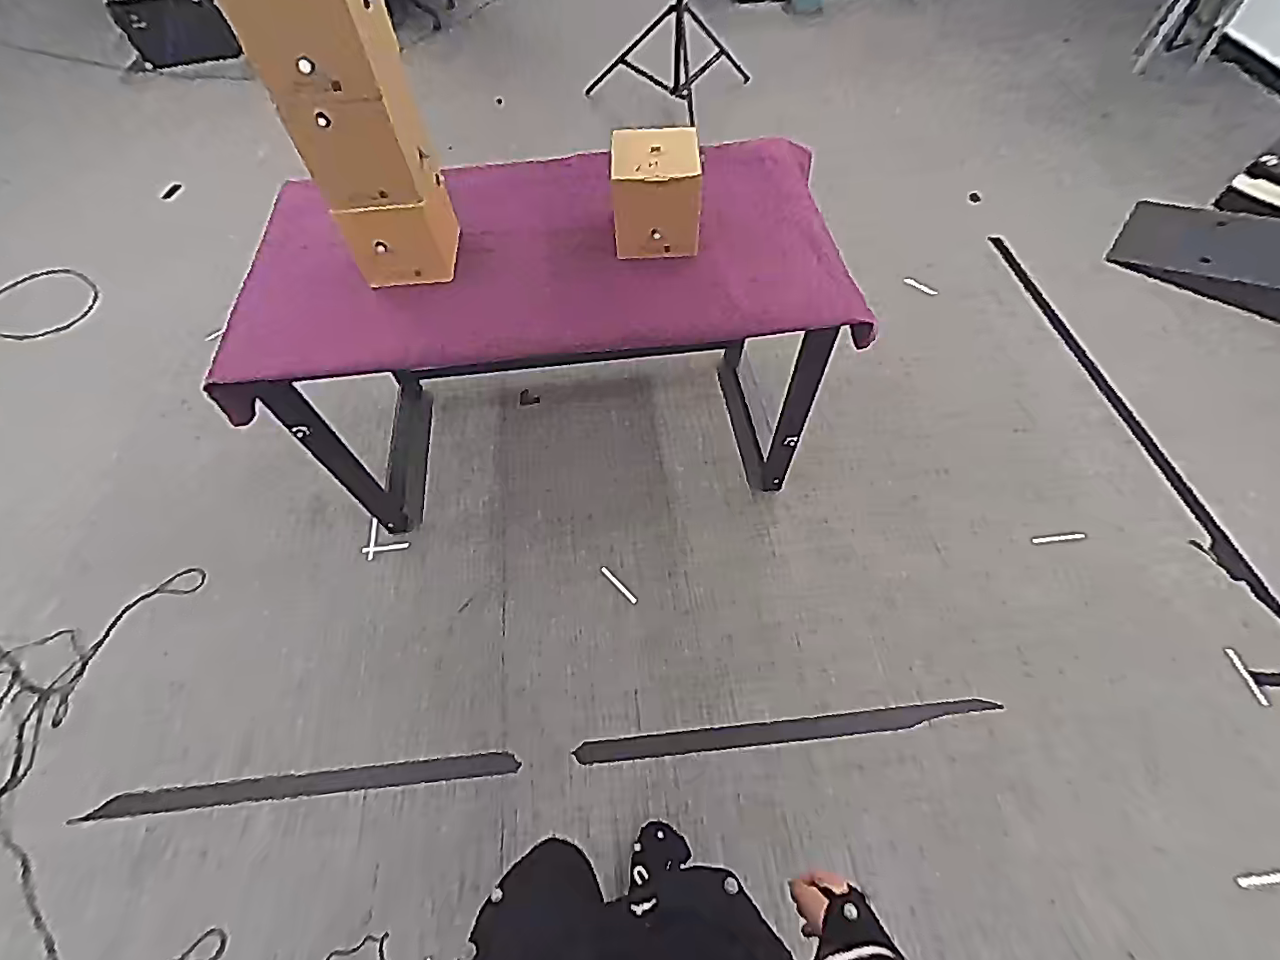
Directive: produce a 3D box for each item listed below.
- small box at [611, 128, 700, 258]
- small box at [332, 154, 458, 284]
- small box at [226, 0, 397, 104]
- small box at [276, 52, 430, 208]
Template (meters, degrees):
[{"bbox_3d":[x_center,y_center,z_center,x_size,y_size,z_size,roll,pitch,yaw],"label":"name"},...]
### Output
[{"bbox_3d":[0.030,-0.574,1.087,0.168,0.176,0.179,-2,59,2],"label":"small box"},{"bbox_3d":[-0.469,-0.506,1.064,0.168,0.176,0.179,-5,58,-1],"label":"small box"},{"bbox_3d":[-0.474,-0.680,0.785,0.168,0.176,0.179,-5,59,-1],"label":"small box"},{"bbox_3d":[-0.474,-0.596,0.927,0.168,0.176,0.179,-6,58,-2],"label":"small box"}]
